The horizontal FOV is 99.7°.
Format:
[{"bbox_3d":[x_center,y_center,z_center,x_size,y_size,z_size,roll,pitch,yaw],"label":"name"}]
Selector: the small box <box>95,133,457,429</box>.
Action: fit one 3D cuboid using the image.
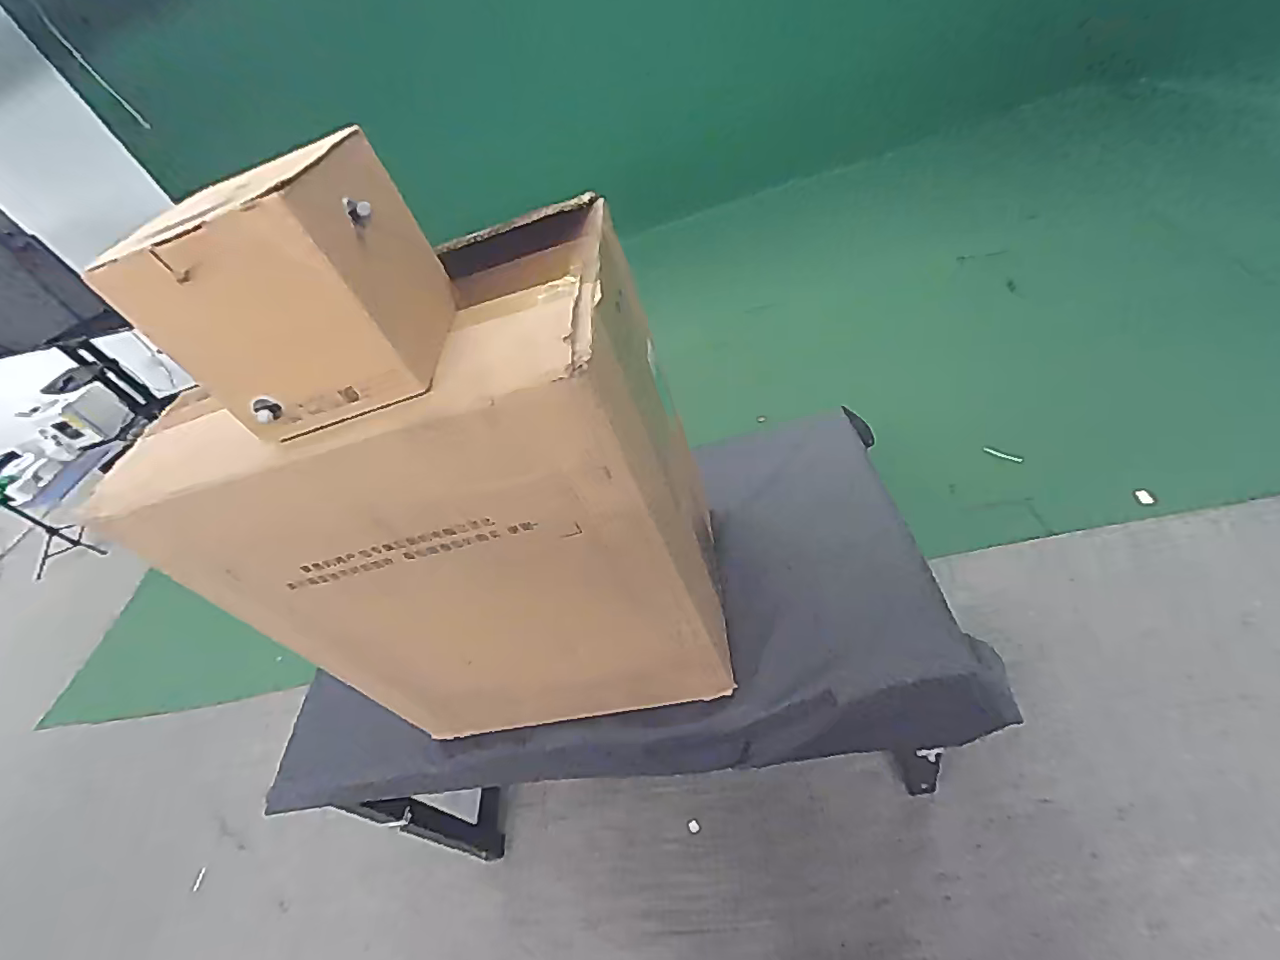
[{"bbox_3d":[-0.285,-0.164,0.476,0.168,0.176,0.179,-15,44,10],"label":"small box"}]
